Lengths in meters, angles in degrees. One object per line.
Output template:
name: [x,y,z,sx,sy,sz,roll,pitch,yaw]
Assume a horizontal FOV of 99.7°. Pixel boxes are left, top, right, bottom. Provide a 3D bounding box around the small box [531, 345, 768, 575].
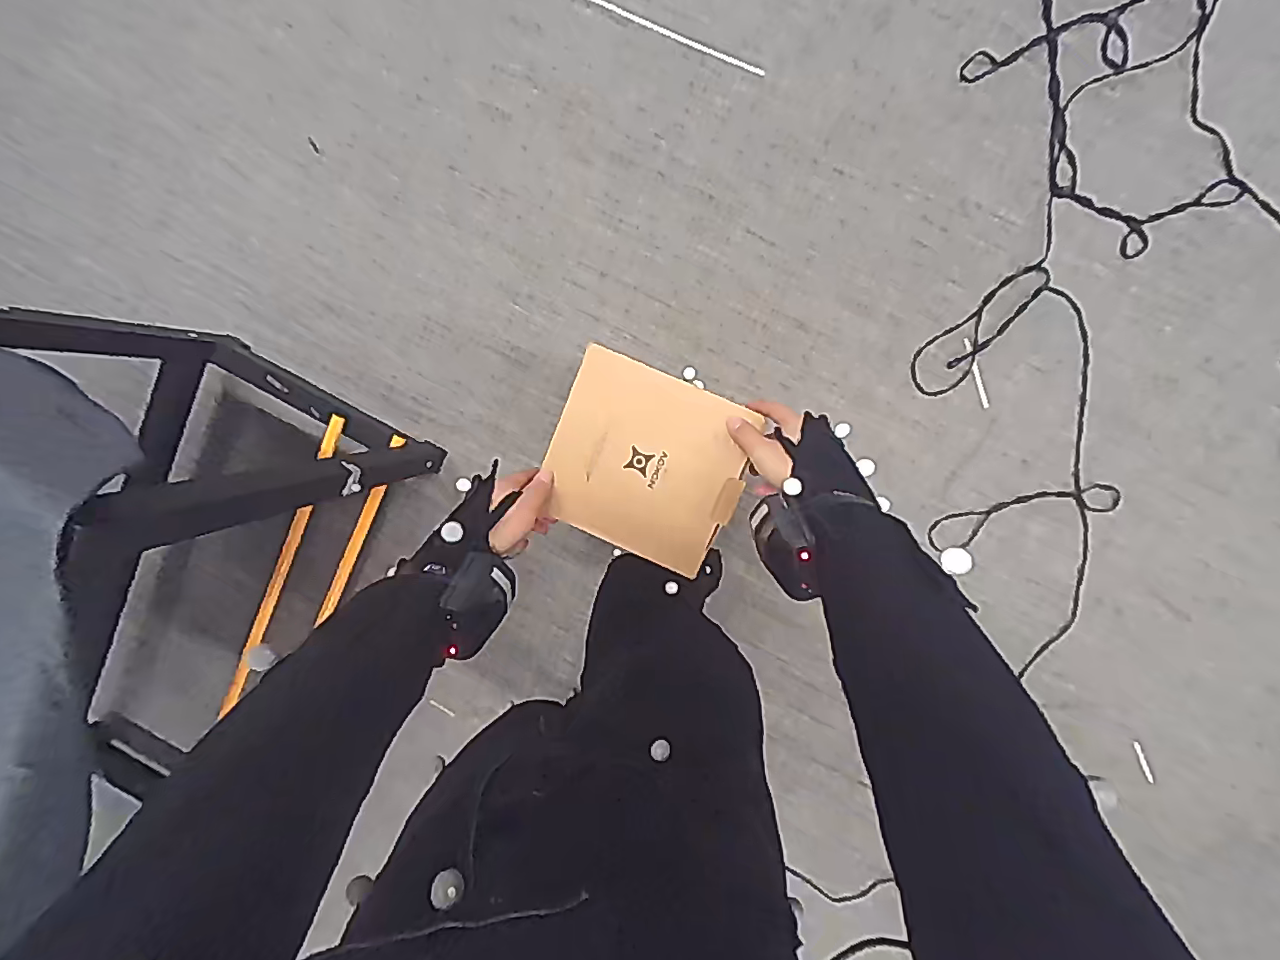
small box: [0.014,-0.028,0.576,0.179,0.176,0.168,24,99,3]
